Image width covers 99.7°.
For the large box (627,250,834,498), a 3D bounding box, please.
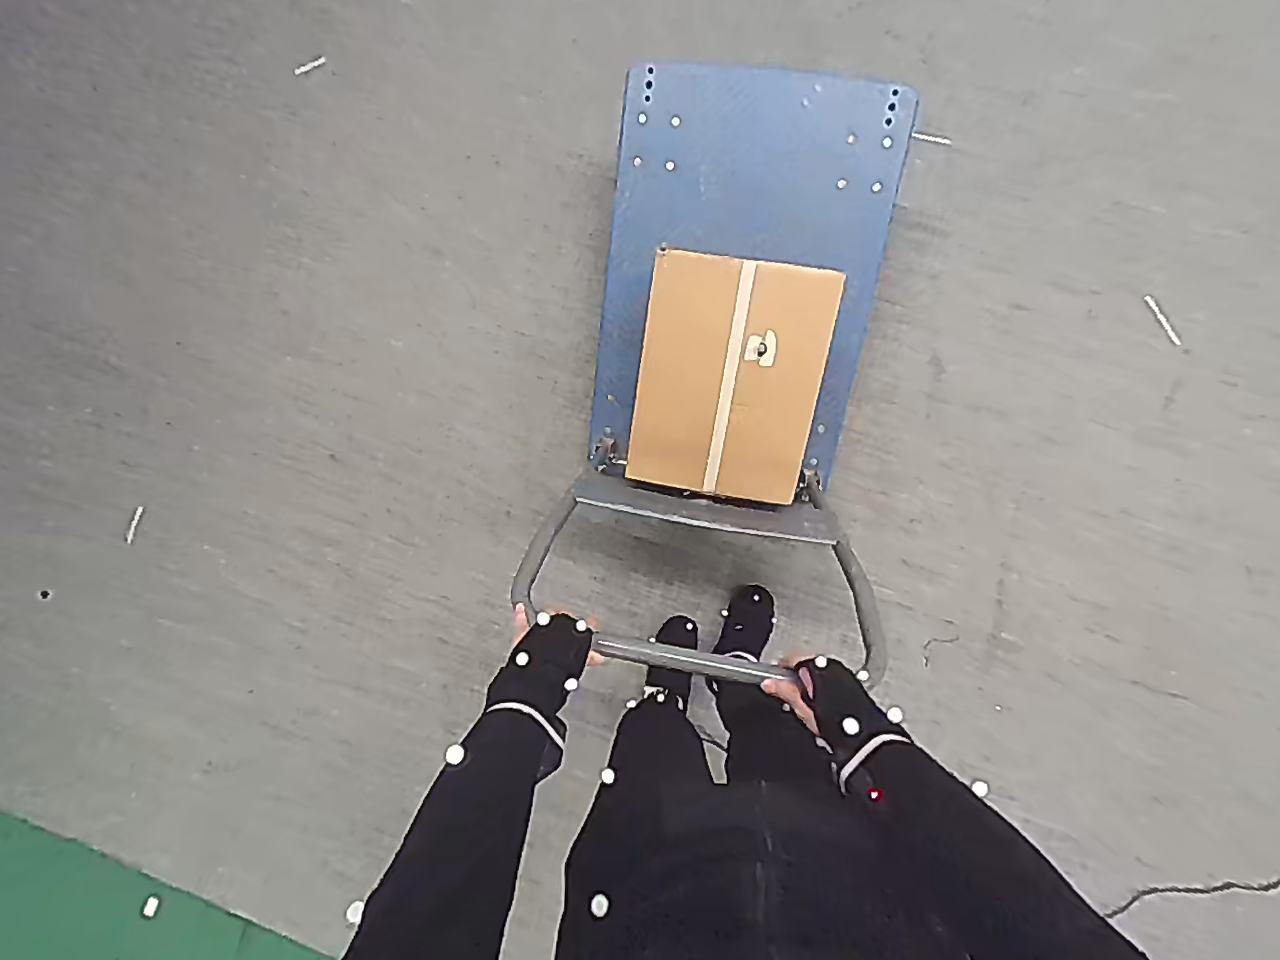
[{"bbox_3d":[0.167,-0.213,1.086,0.320,0.320,0.408,9,106,5],"label":"large box"}]
